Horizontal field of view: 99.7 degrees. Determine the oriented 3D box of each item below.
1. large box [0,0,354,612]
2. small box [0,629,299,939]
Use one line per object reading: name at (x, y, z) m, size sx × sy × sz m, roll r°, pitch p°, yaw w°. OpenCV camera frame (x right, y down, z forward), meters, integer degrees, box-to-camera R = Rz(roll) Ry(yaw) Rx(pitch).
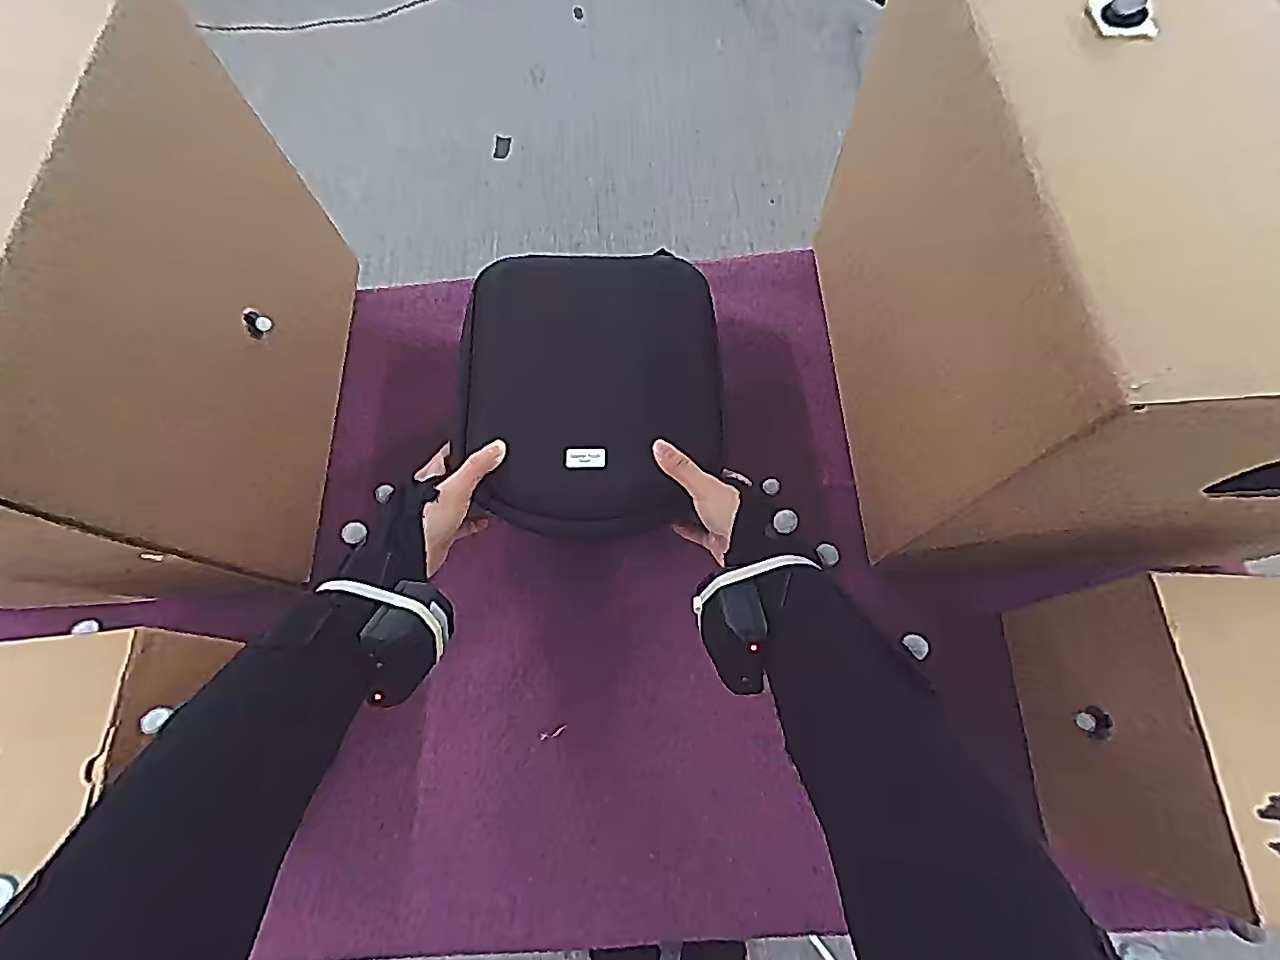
large box at (-0.486, -0.118, 0.464) m, size 0.320 × 0.320 × 0.408 m, roll -5°, pitch 70°, yaw 0°
small box at (-0.400, 0.214, 0.400) m, size 0.179 × 0.176 × 0.168 m, roll -6°, pitch 66°, yaw 0°
